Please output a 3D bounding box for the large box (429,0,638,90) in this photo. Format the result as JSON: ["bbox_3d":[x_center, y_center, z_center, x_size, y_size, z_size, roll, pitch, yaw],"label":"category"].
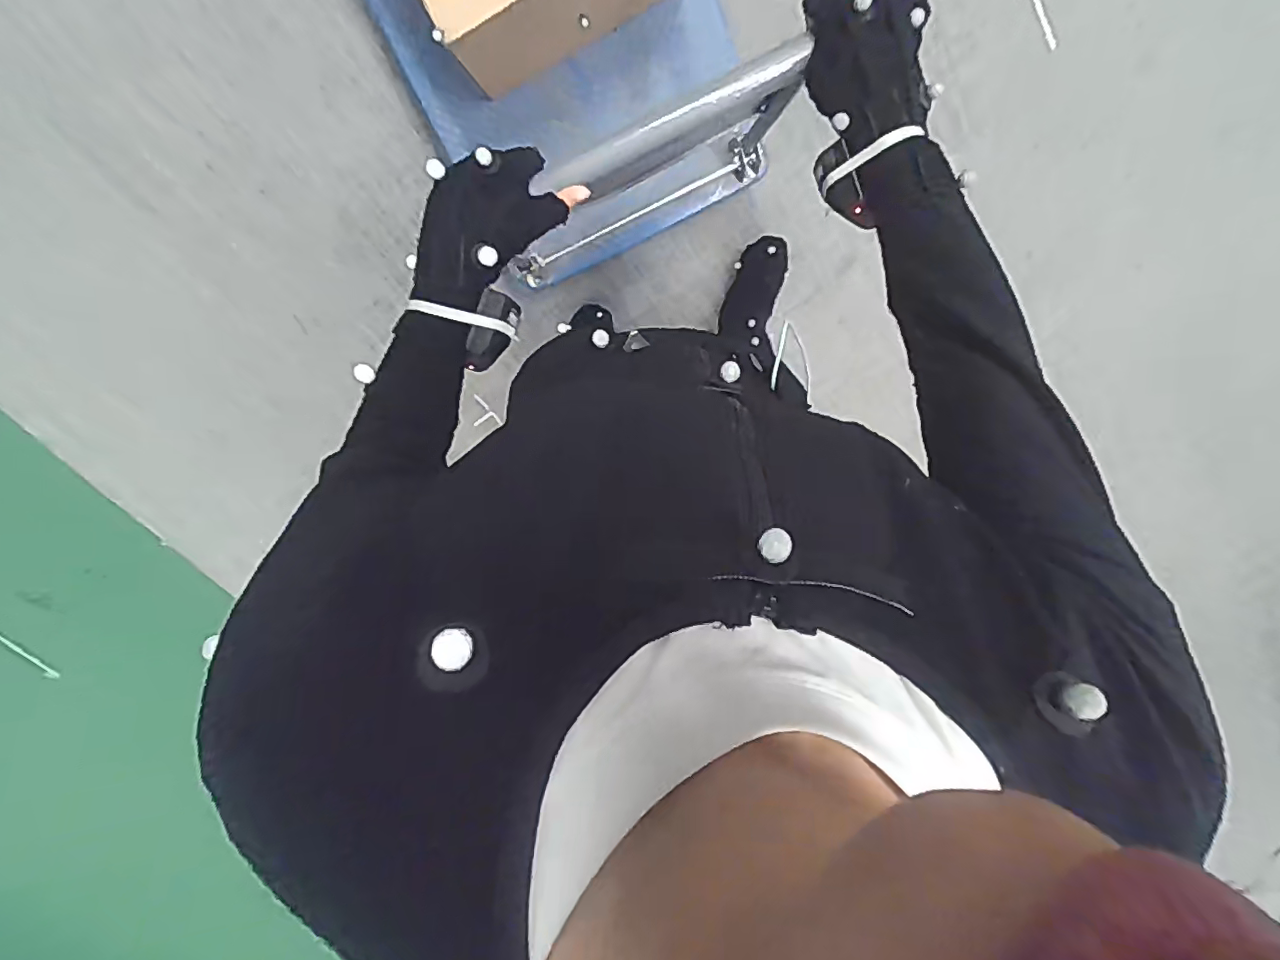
[{"bbox_3d":[-0.163,-0.882,0.804,0.408,0.320,0.320,-26,111,8],"label":"large box"}]
